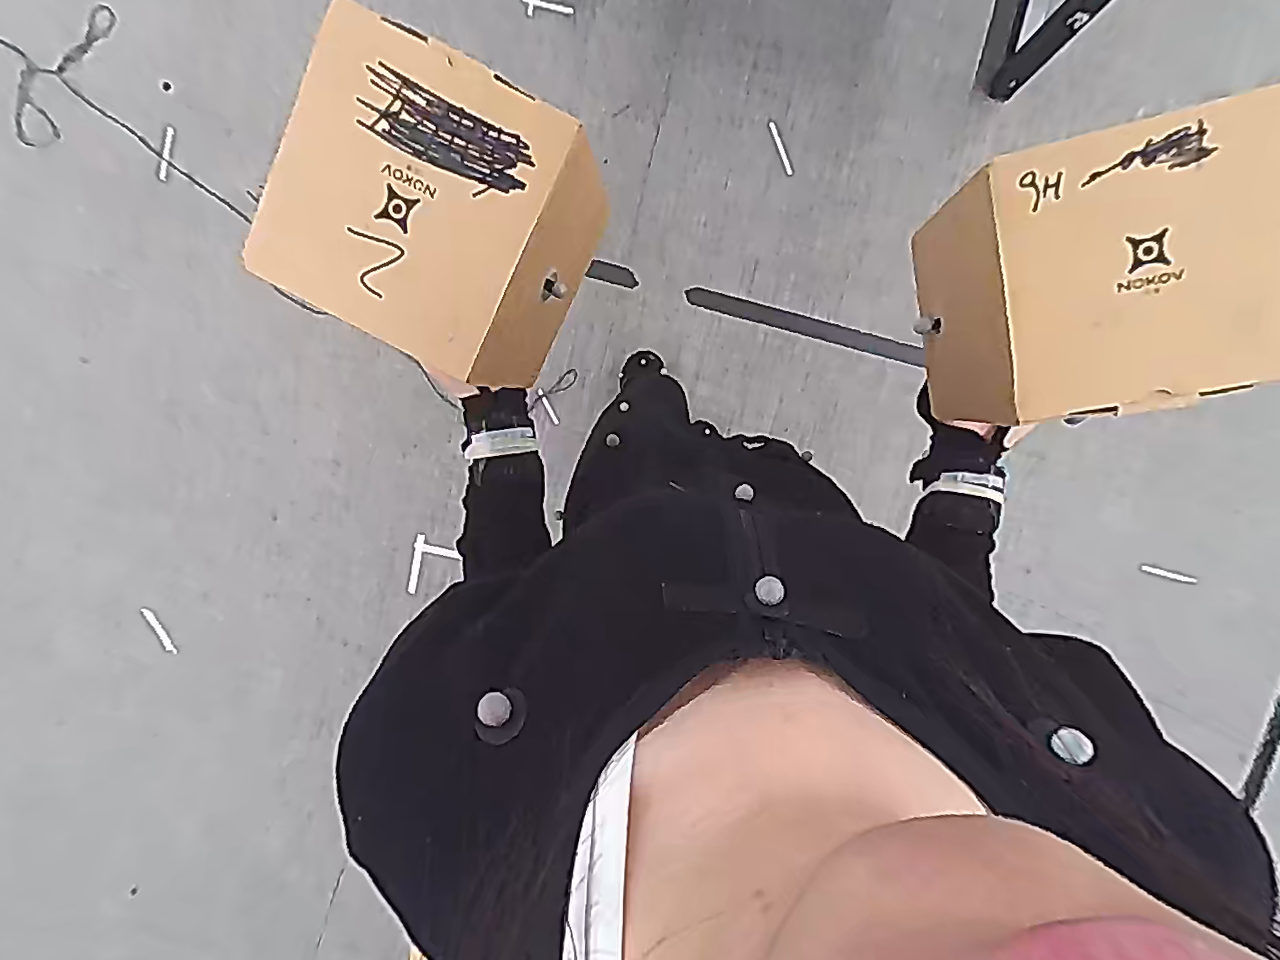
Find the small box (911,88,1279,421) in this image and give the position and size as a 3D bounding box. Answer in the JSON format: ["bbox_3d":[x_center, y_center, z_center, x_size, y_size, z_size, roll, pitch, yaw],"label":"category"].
[{"bbox_3d":[0.331,-0.150,0.424,0.168,0.176,0.179,-9,97,11],"label":"small box"}]
